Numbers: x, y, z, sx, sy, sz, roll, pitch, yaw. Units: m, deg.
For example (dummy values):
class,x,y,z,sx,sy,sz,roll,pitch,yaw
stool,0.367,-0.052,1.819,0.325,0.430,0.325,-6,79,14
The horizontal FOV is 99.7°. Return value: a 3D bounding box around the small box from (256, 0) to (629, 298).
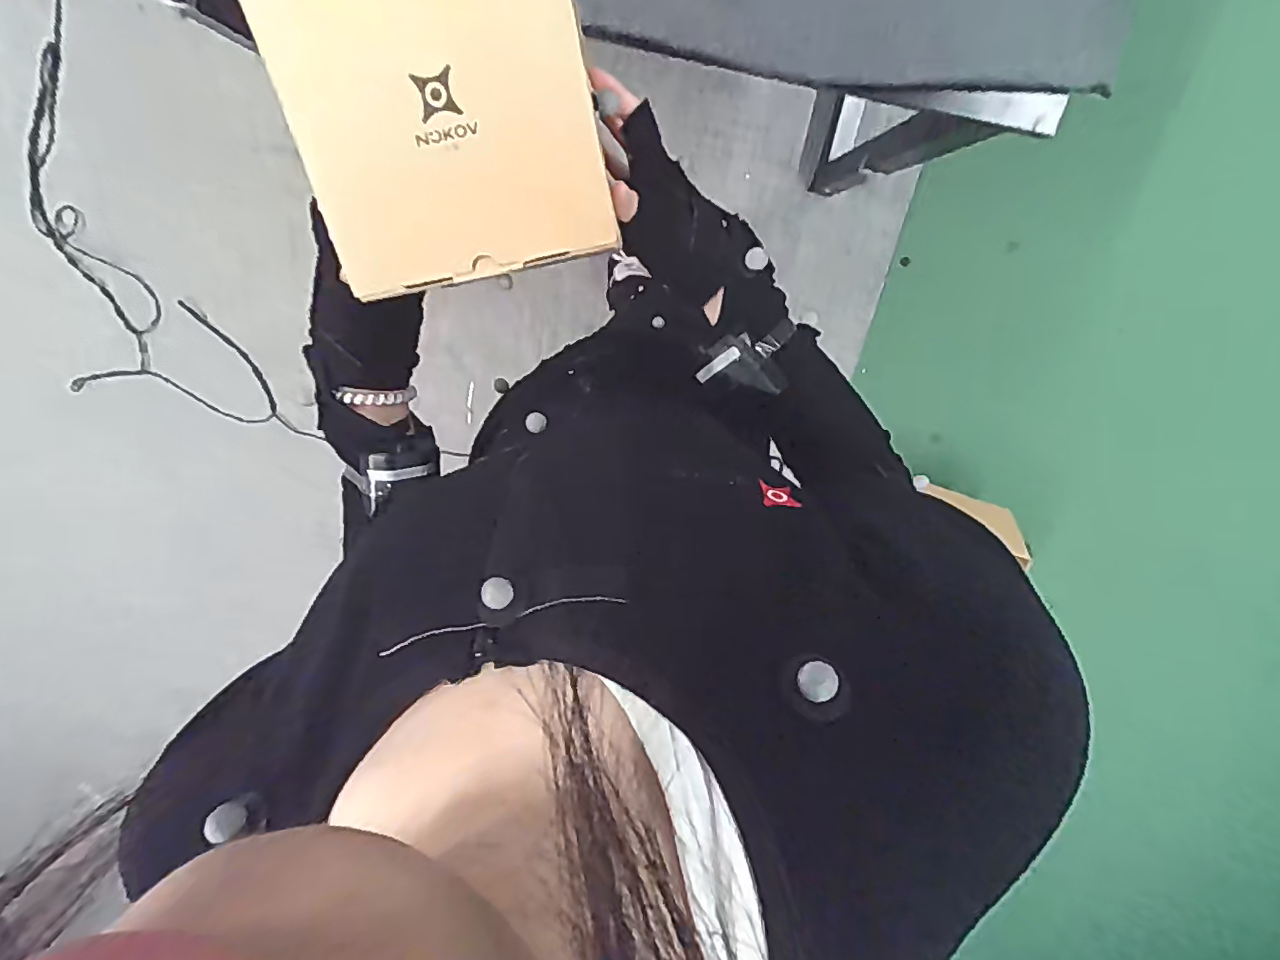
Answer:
class,x,y,z,sx,sy,sz,roll,pitch,yaw
small box,-0.107,-0.233,0.368,0.168,0.176,0.179,-12,114,2
